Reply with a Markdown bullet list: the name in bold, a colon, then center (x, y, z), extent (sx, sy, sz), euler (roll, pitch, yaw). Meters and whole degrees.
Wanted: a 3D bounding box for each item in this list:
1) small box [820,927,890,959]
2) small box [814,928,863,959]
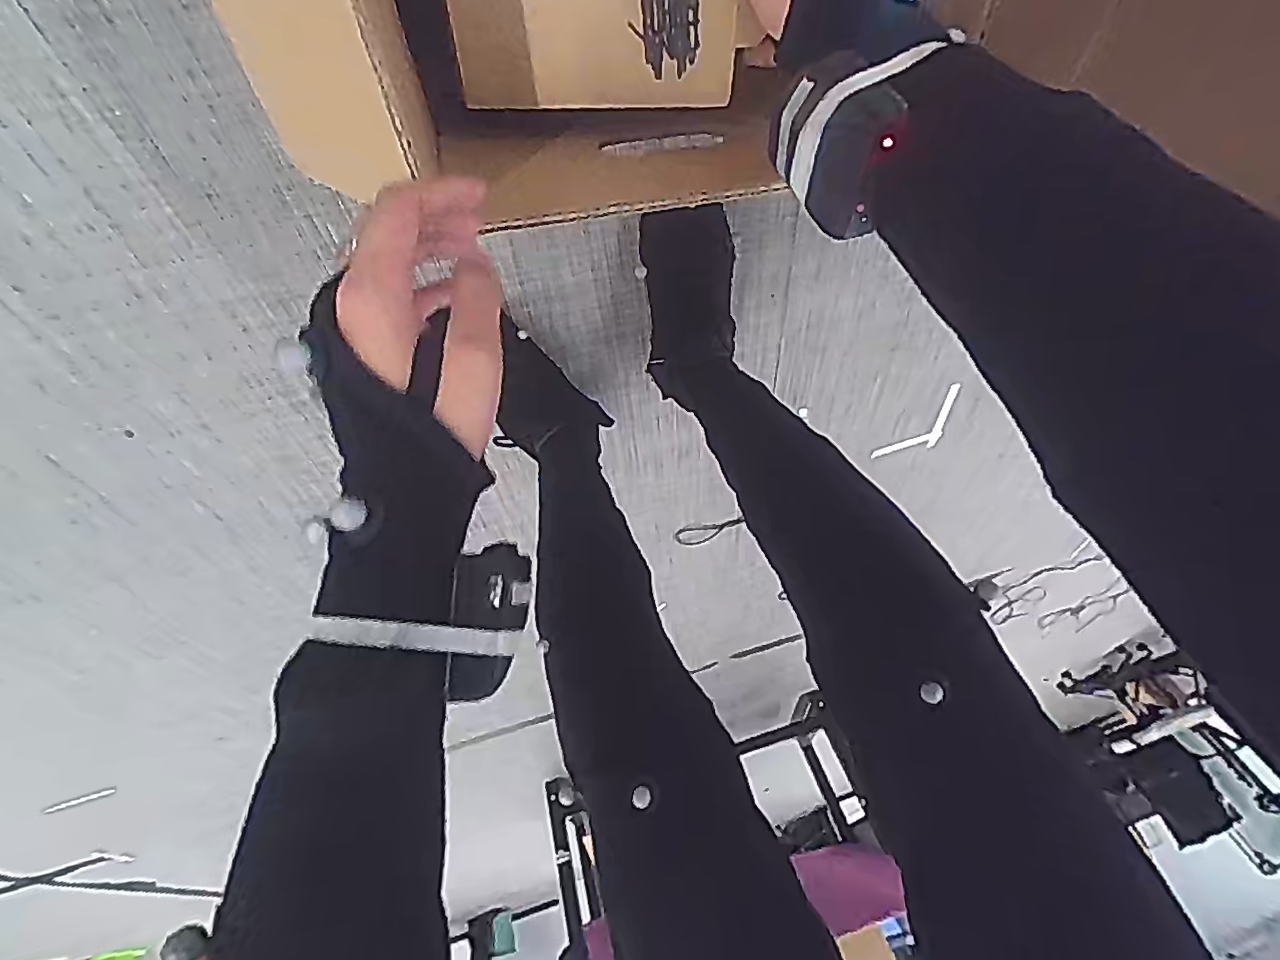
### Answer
- **small box**: center (0.715, 1.583, 1.752), extent (0.179, 0.176, 0.168), euler (-16, 139, -6)
- **small box**: center (0.751, 1.737, 1.935), extent (0.179, 0.176, 0.168), euler (-17, 139, -5)
